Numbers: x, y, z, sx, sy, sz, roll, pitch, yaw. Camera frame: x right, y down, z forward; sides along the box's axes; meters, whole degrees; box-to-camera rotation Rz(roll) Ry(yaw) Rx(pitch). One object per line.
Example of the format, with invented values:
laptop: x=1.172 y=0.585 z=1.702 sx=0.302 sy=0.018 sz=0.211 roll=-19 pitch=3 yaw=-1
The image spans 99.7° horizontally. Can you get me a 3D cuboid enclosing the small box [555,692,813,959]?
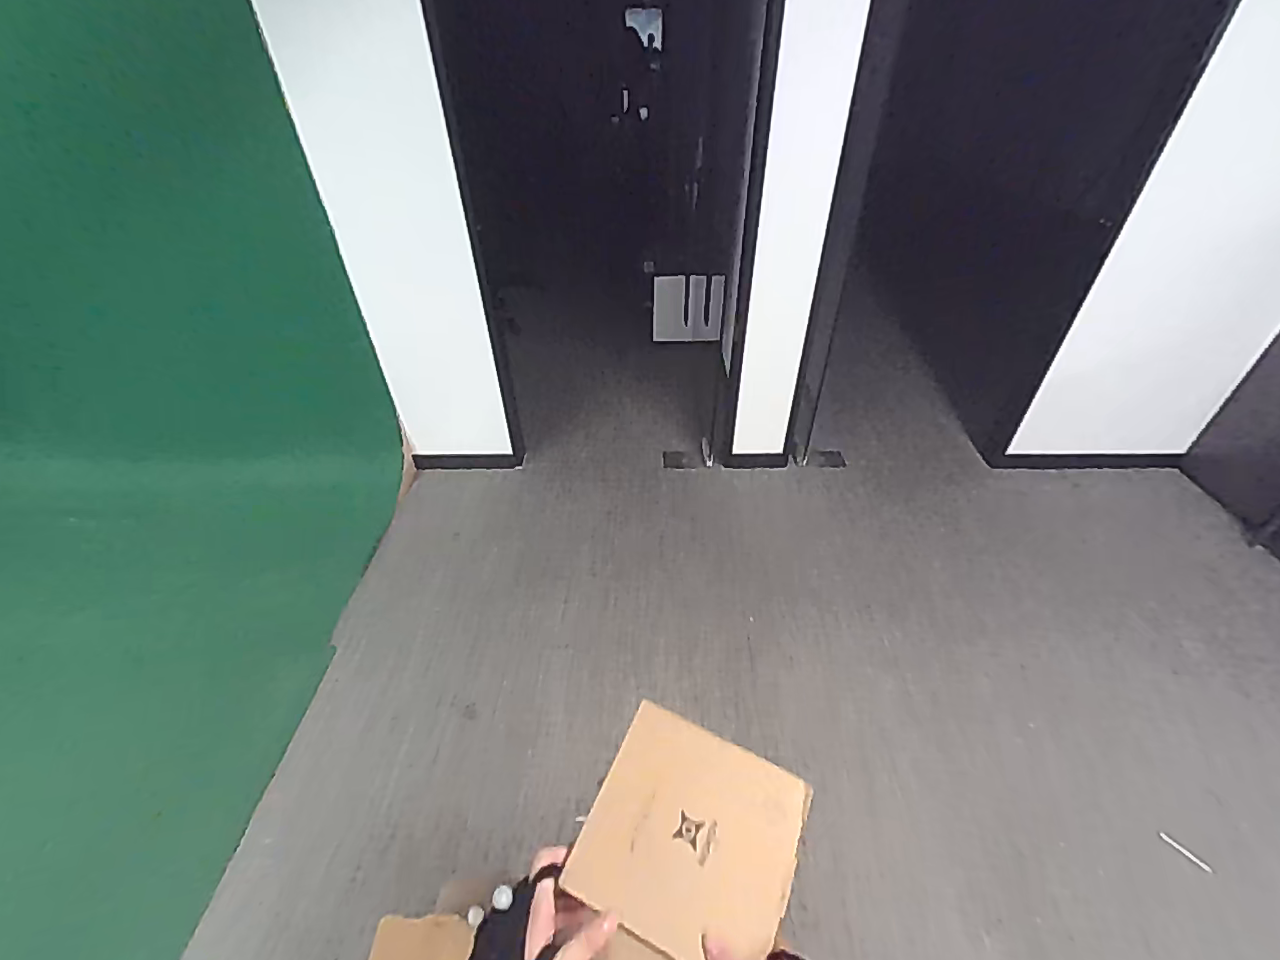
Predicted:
small box: x=0.039 y=0.342 z=0.524 sx=0.179 sy=0.176 sz=0.168 roll=23 pitch=54 yaw=14

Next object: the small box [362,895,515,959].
small box: x=-0.271 y=0.682 z=0.719 sx=0.168 sy=0.176 sz=0.179 roll=2 pitch=41 yaw=1
